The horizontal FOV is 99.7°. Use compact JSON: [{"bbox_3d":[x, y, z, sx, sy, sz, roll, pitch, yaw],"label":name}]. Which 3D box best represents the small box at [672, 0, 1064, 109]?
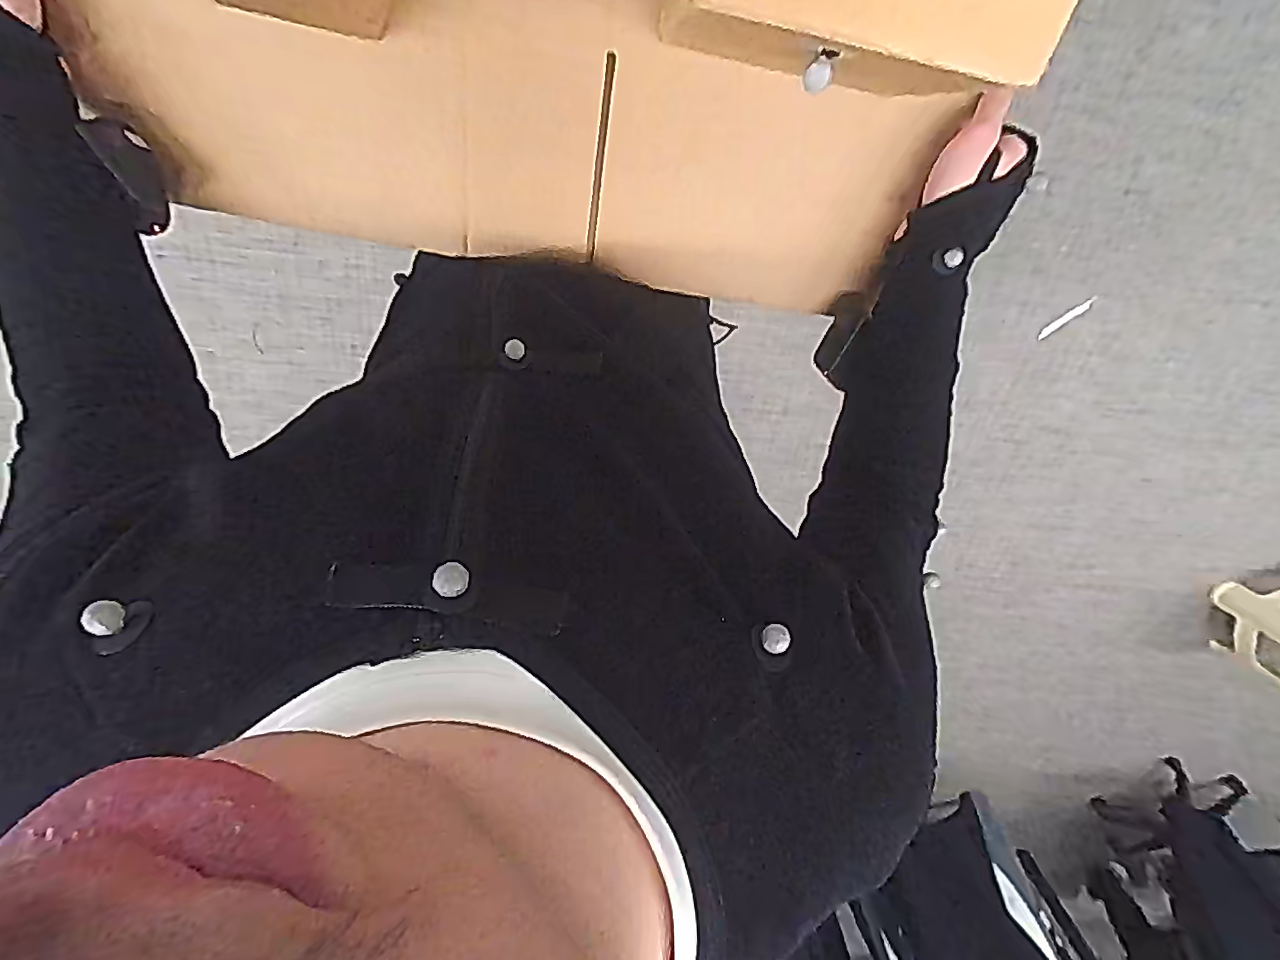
[{"bbox_3d":[0.123,-0.317,0.291,0.179,0.176,0.168,8,123,-7],"label":"small box"}]
